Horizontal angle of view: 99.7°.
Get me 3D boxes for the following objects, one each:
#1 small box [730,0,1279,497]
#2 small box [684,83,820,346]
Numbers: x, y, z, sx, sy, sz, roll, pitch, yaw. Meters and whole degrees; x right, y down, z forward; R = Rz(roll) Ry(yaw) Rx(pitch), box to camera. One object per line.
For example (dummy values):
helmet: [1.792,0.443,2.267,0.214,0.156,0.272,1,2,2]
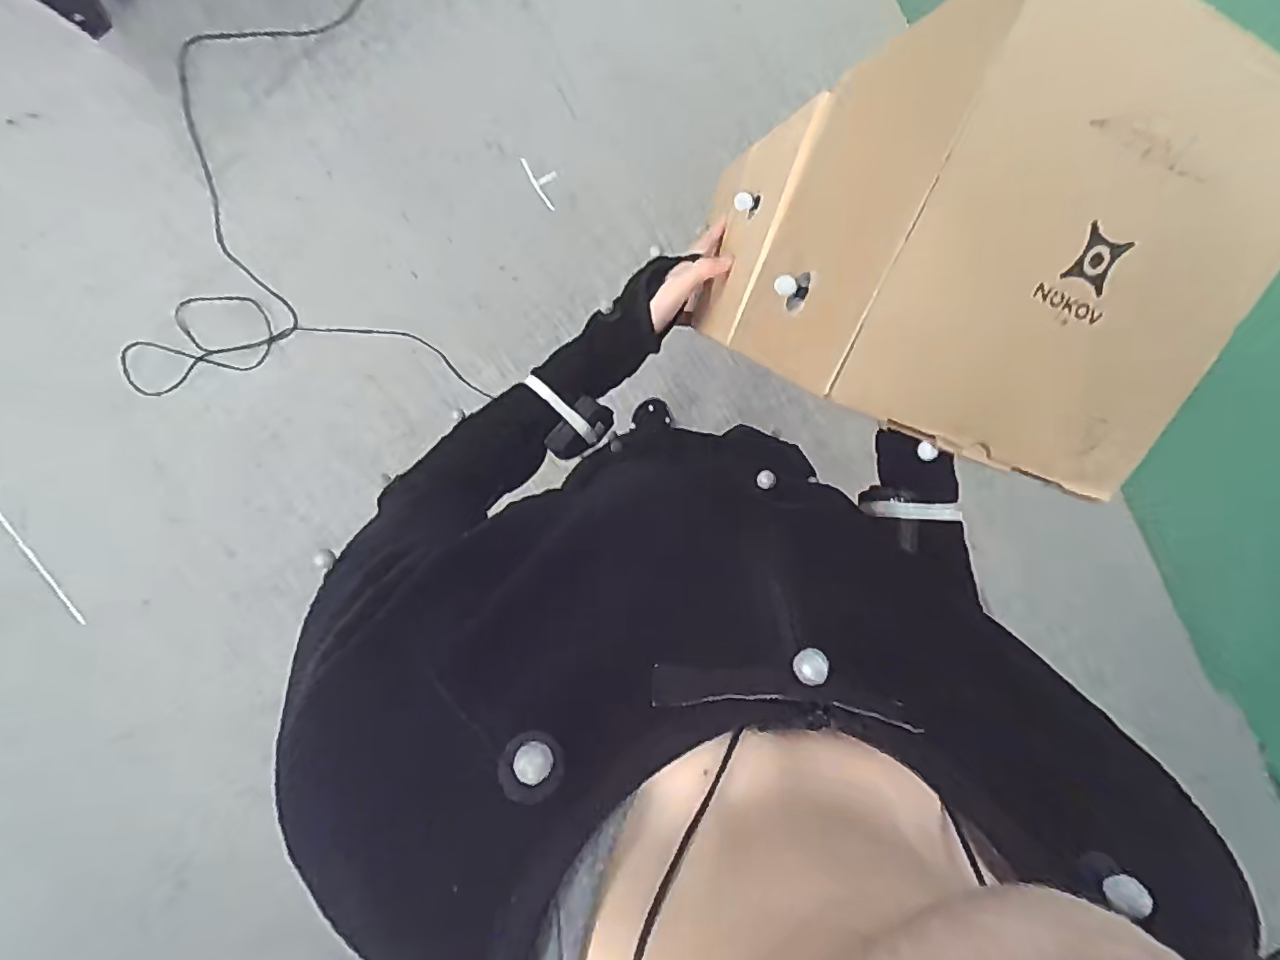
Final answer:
small box: [0.164,-0.120,0.295,0.168,0.176,0.179,18,108,-13]
small box: [0.149,-0.179,0.447,0.179,0.176,0.168,15,110,-11]
